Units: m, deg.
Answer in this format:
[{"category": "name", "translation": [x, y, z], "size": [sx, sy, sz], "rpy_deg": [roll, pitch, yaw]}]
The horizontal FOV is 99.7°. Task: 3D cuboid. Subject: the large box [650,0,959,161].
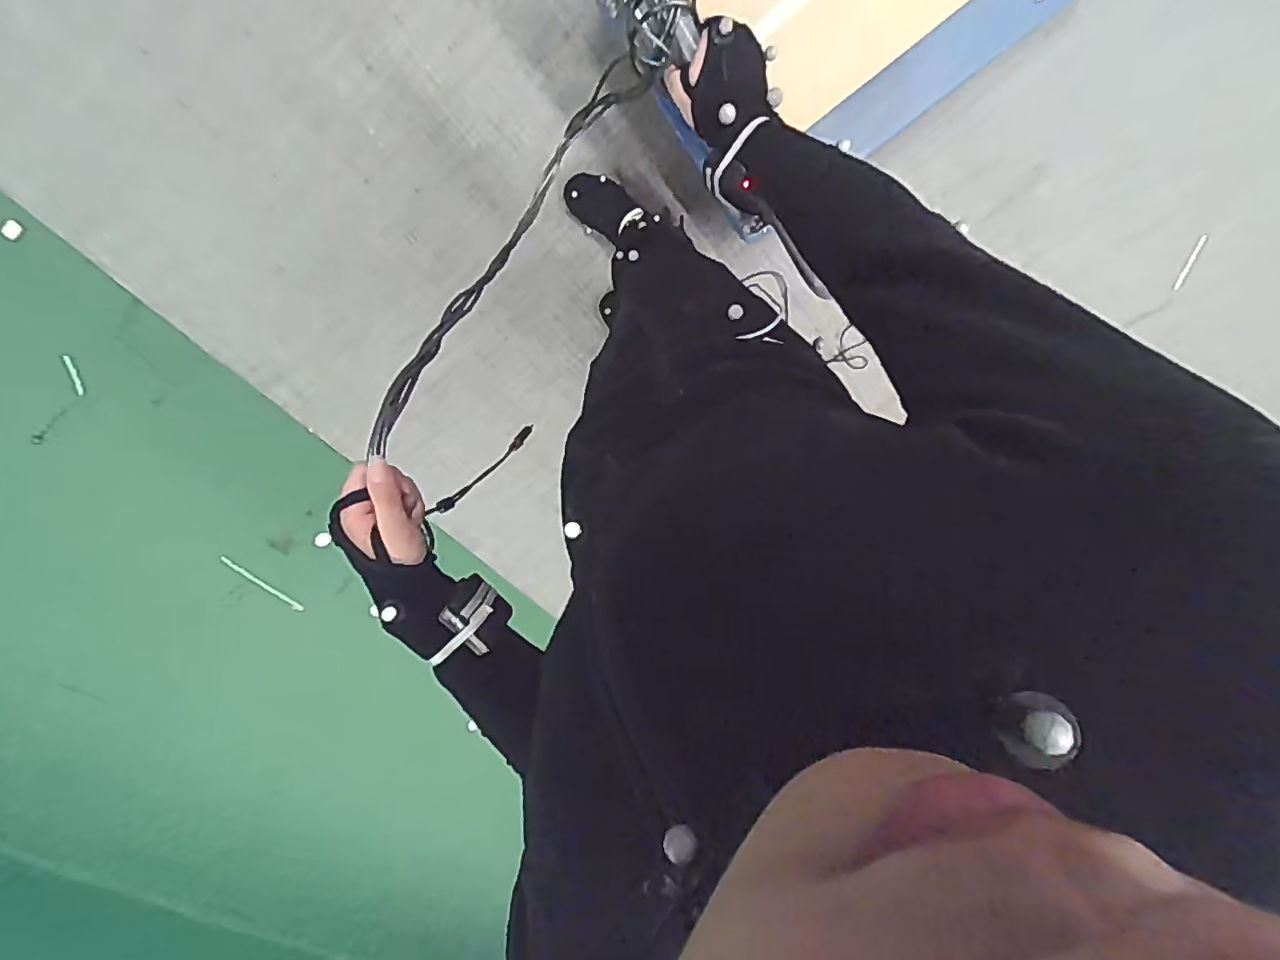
[{"category": "large box", "translation": [0.268, -0.821, 0.919], "size": [0.408, 0.320, 0.320], "rpy_deg": [-34, 116, 15]}]
